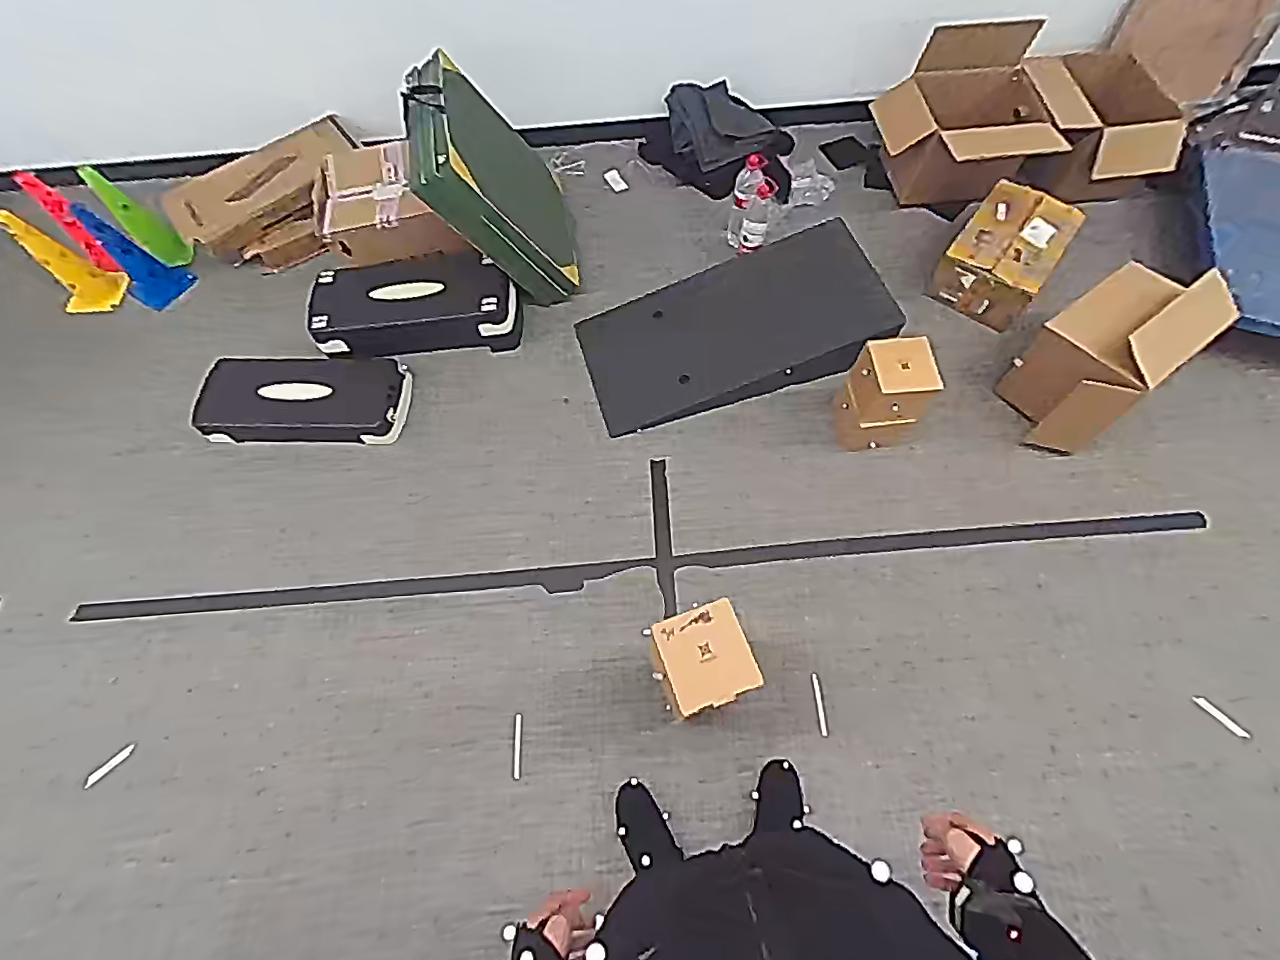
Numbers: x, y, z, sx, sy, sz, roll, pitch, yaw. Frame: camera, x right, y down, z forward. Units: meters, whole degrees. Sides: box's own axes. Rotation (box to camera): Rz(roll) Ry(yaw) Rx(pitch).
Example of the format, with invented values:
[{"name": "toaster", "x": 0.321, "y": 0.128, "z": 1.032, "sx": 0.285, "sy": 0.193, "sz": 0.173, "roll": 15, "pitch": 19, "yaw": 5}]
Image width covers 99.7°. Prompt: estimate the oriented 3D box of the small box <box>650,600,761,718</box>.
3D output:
[{"name": "small box", "x": 0.126, "y": 0.365, "z": 1.100, "sx": 0.168, "sy": 0.176, "sz": 0.179, "roll": -19, "pitch": 67, "yaw": -6}]
